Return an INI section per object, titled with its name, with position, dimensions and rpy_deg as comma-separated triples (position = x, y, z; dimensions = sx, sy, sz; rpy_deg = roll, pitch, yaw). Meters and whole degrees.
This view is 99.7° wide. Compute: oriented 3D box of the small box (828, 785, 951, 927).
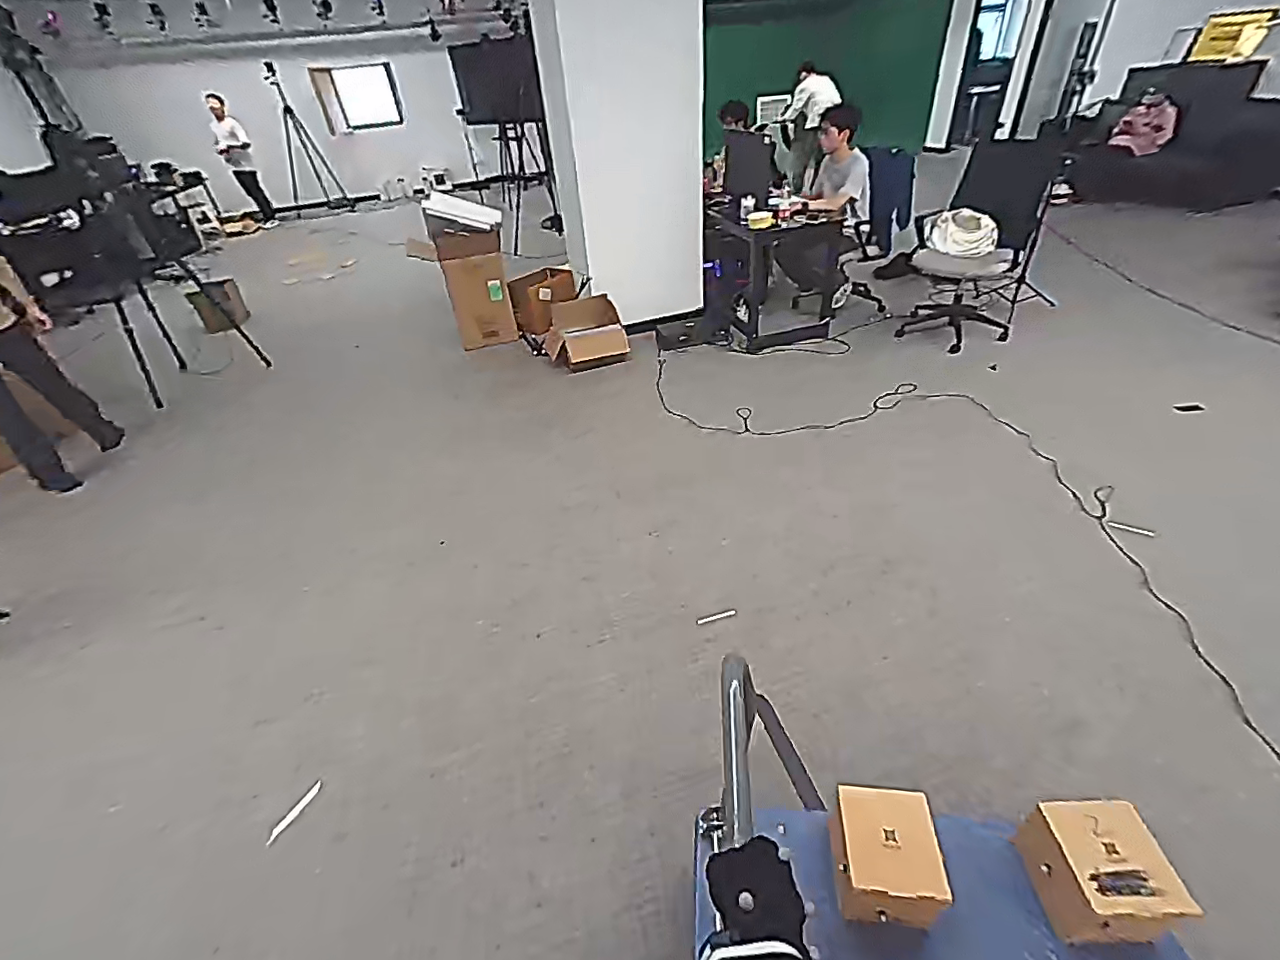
[small box]
position = 0.468, 0.727, 1.049
dimensions = 0.168, 0.176, 0.179
rpy_deg = 1, 39, 9
